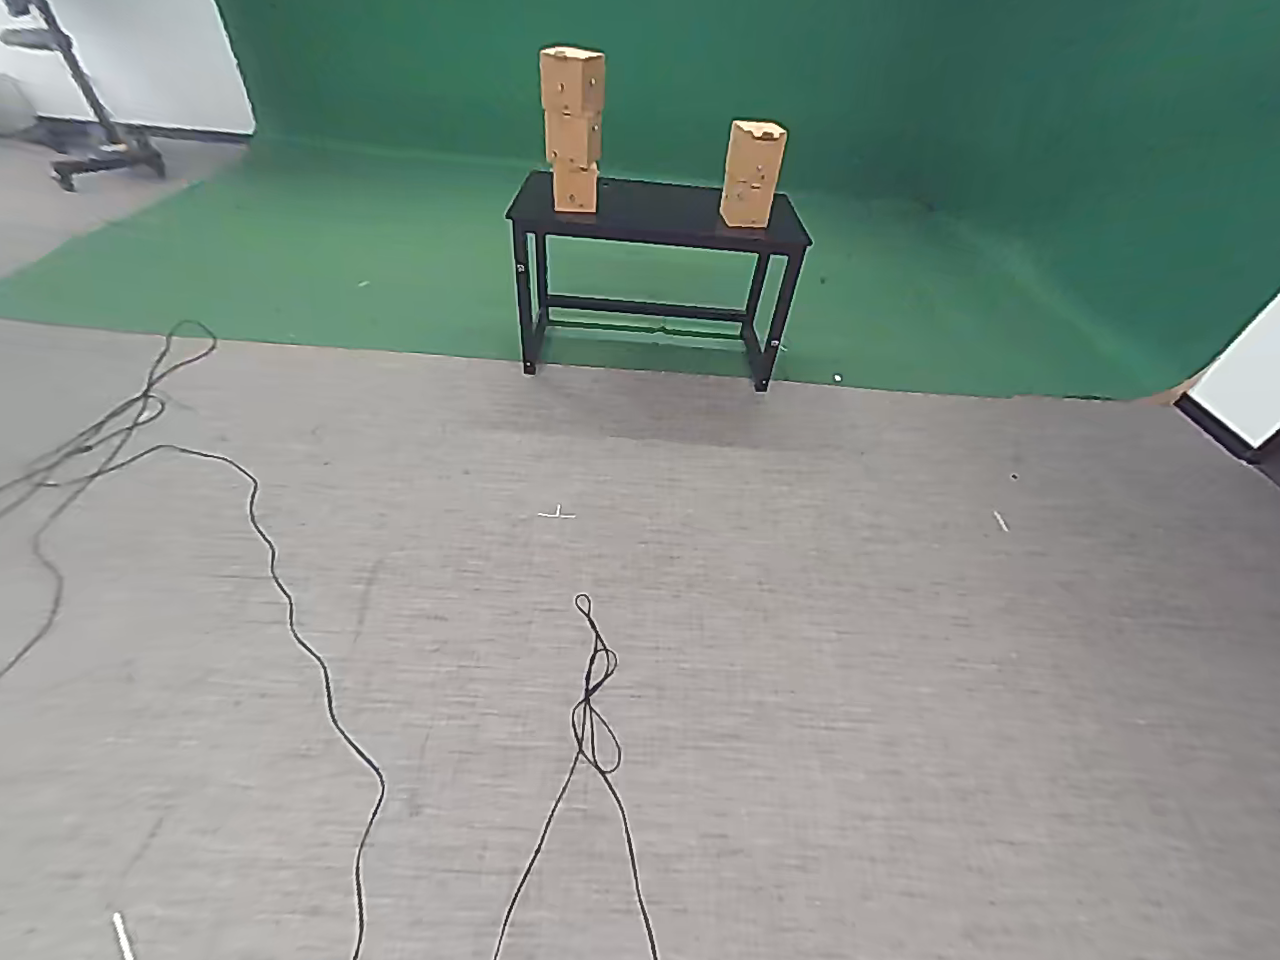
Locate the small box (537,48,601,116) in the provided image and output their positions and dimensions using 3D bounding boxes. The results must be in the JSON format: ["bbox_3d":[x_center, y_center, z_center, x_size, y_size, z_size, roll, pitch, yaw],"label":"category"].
[{"bbox_3d":[-0.252,-1.432,1.948,0.168,0.176,0.179,21,47,13],"label":"small box"}]

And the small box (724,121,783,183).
[{"bbox_3d":[0.430,-1.267,2.089,0.168,0.176,0.179,-2,44,-8],"label":"small box"}]

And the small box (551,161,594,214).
[{"bbox_3d":[-0.274,-1.193,2.172,0.168,0.176,0.179,-2,46,-9],"label":"small box"}]

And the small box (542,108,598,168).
[{"bbox_3d":[-0.264,-1.310,2.058,0.168,0.176,0.179,13,44,6],"label":"small box"}]
